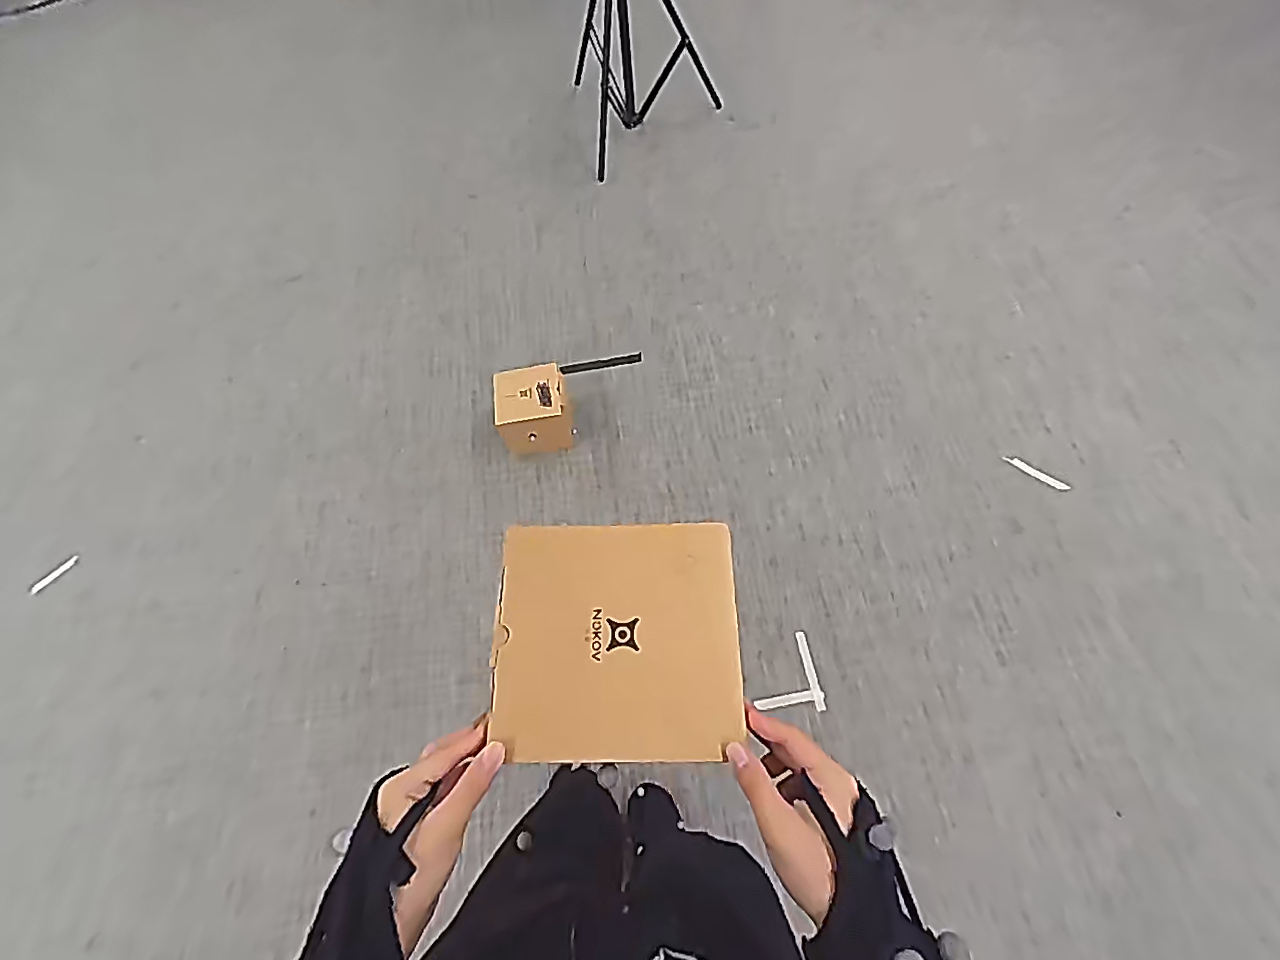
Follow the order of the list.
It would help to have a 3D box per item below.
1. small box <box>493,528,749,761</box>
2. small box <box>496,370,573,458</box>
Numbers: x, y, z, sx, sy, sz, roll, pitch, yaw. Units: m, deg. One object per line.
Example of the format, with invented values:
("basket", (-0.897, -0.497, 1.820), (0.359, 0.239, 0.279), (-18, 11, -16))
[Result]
("small box", (-0.010, 0.145, 0.468), (0.179, 0.176, 0.168), (-2, 66, 3))
("small box", (-0.283, -0.176, 1.480), (0.179, 0.176, 0.168), (-9, 65, 2))
